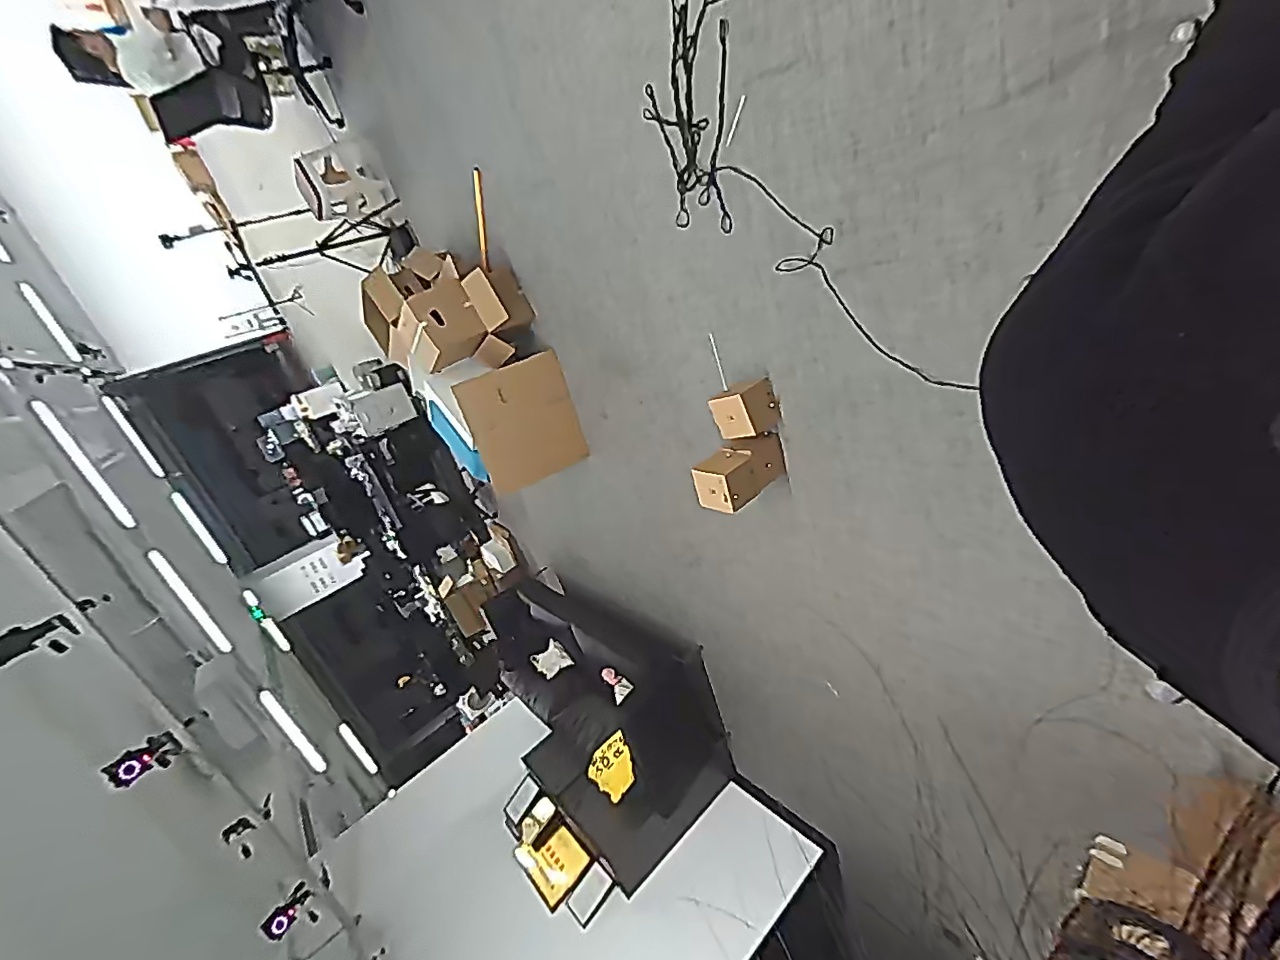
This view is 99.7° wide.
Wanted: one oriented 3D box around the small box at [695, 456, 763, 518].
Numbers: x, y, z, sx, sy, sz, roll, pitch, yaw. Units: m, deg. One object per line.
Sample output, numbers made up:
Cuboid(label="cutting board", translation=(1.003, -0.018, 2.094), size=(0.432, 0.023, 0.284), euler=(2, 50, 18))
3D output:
Cuboid(label="small box", translation=(0.340, 0.019, 2.056), size=(0.179, 0.176, 0.168), euler=(15, 130, 51))

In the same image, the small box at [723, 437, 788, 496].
Cuboid(label="small box", translation=(0.458, -0.062, 2.135), size=(0.168, 0.176, 0.179), euler=(13, 129, 52))

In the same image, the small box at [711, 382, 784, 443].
Cuboid(label="small box", translation=(0.407, -0.253, 2.036), size=(0.179, 0.176, 0.168), euler=(-2, 117, 56))
